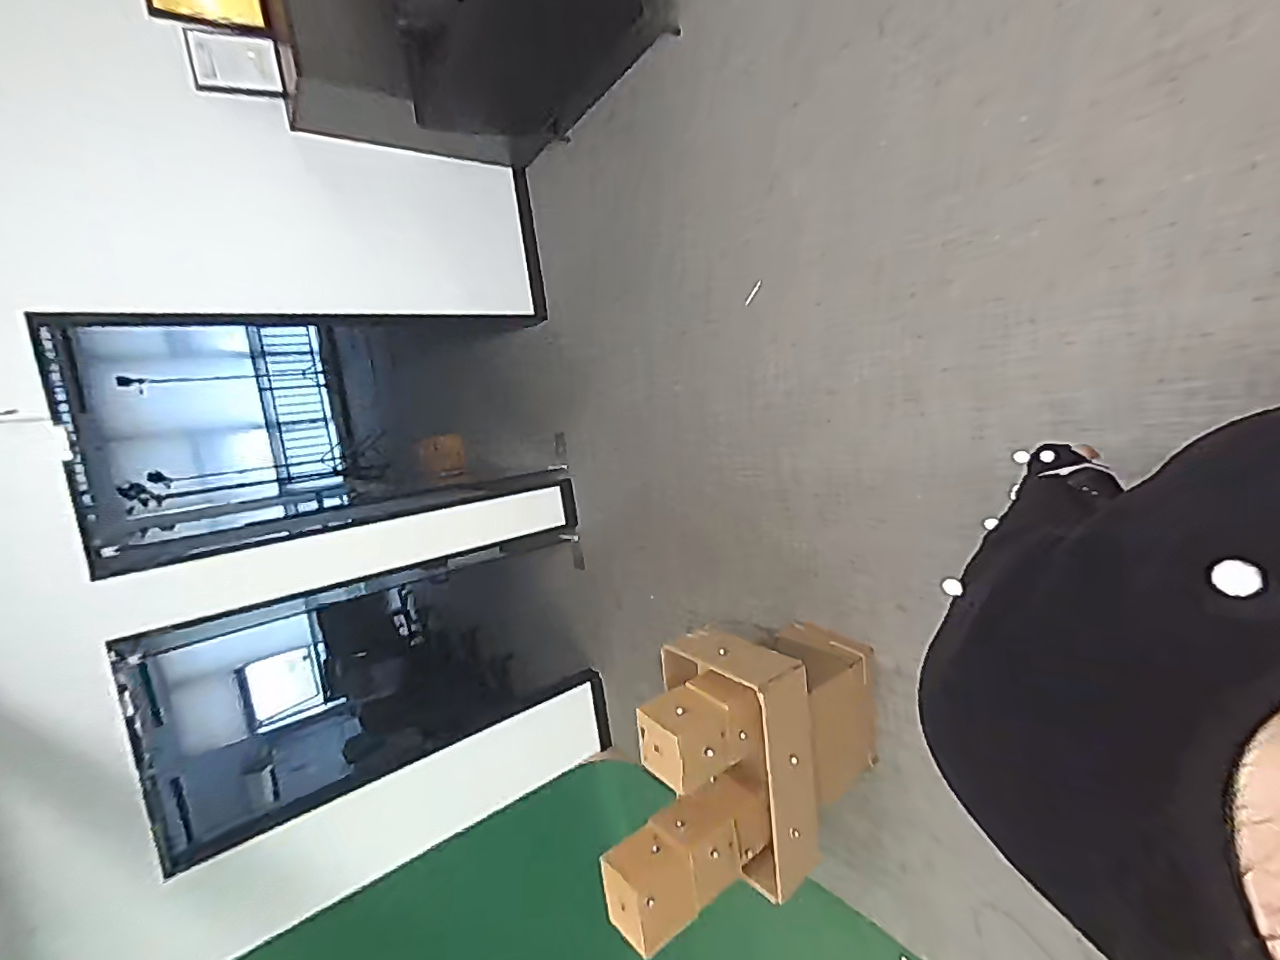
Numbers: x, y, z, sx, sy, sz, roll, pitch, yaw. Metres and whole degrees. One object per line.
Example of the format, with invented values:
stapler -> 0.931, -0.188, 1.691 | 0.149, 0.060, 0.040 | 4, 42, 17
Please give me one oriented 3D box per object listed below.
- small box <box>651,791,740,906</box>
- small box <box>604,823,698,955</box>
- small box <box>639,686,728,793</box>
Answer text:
small box -> 0.158, 0.994, 1.481 | 0.179, 0.176, 0.168 | -2, 98, 54
small box -> 0.031, 1.036, 1.388 | 0.168, 0.176, 0.179 | -5, 95, 54
small box -> 0.121, 0.674, 1.434 | 0.179, 0.176, 0.168 | 8, 106, 52
